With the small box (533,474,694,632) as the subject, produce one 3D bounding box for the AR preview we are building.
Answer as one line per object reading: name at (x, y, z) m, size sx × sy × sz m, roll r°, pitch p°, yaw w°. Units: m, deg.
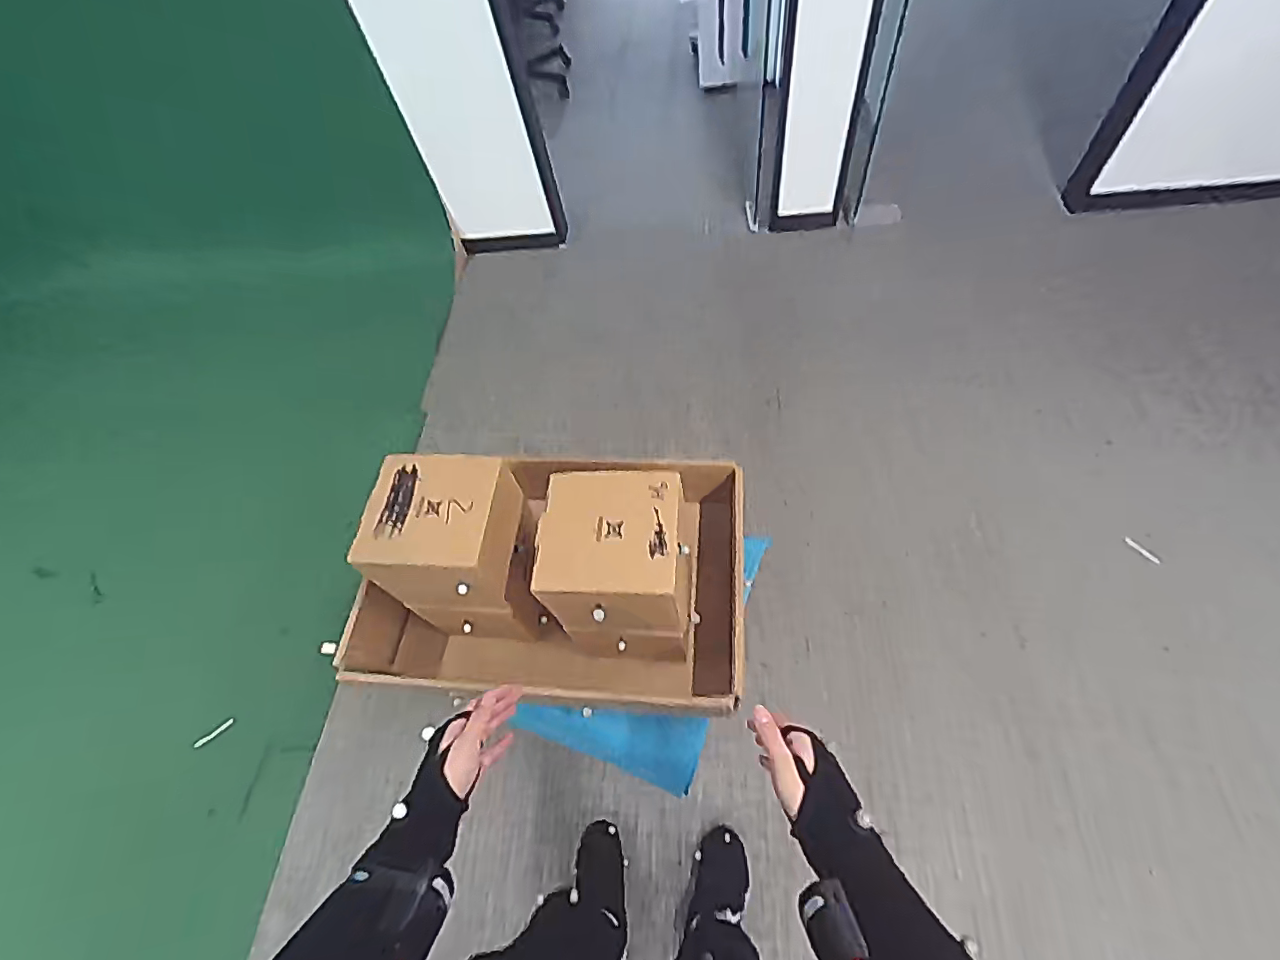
small box at (-0.024, 0.105, 0.741) m, size 0.179 × 0.176 × 0.168 m, roll -1°, pitch 60°, yaw 11°
